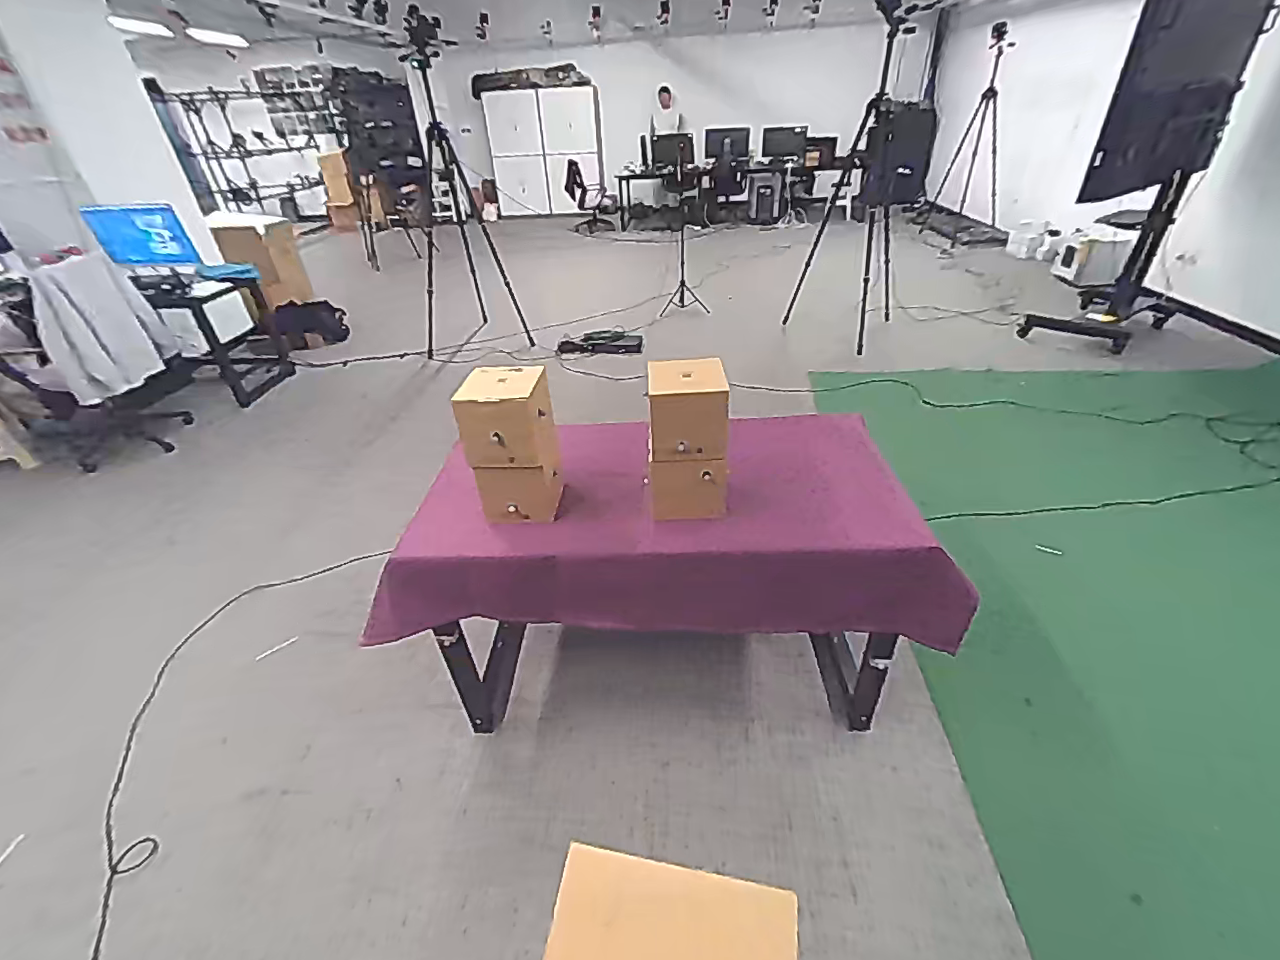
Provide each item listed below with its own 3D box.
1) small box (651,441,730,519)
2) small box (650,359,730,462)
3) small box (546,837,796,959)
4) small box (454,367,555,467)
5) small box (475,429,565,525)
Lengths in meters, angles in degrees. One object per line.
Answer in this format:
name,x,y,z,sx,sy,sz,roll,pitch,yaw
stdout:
small box,0.116,-0.019,1.293,0.179,0.176,0.168,-2,34,3
small box,0.106,-0.155,1.203,0.168,0.176,0.179,-3,35,3
small box,0.017,0.394,0.398,0.168,0.176,0.179,6,49,10
small box,-0.295,-0.141,1.221,0.168,0.176,0.179,0,35,4
small box,-0.282,-0.010,1.320,0.168,0.176,0.179,-1,35,4
